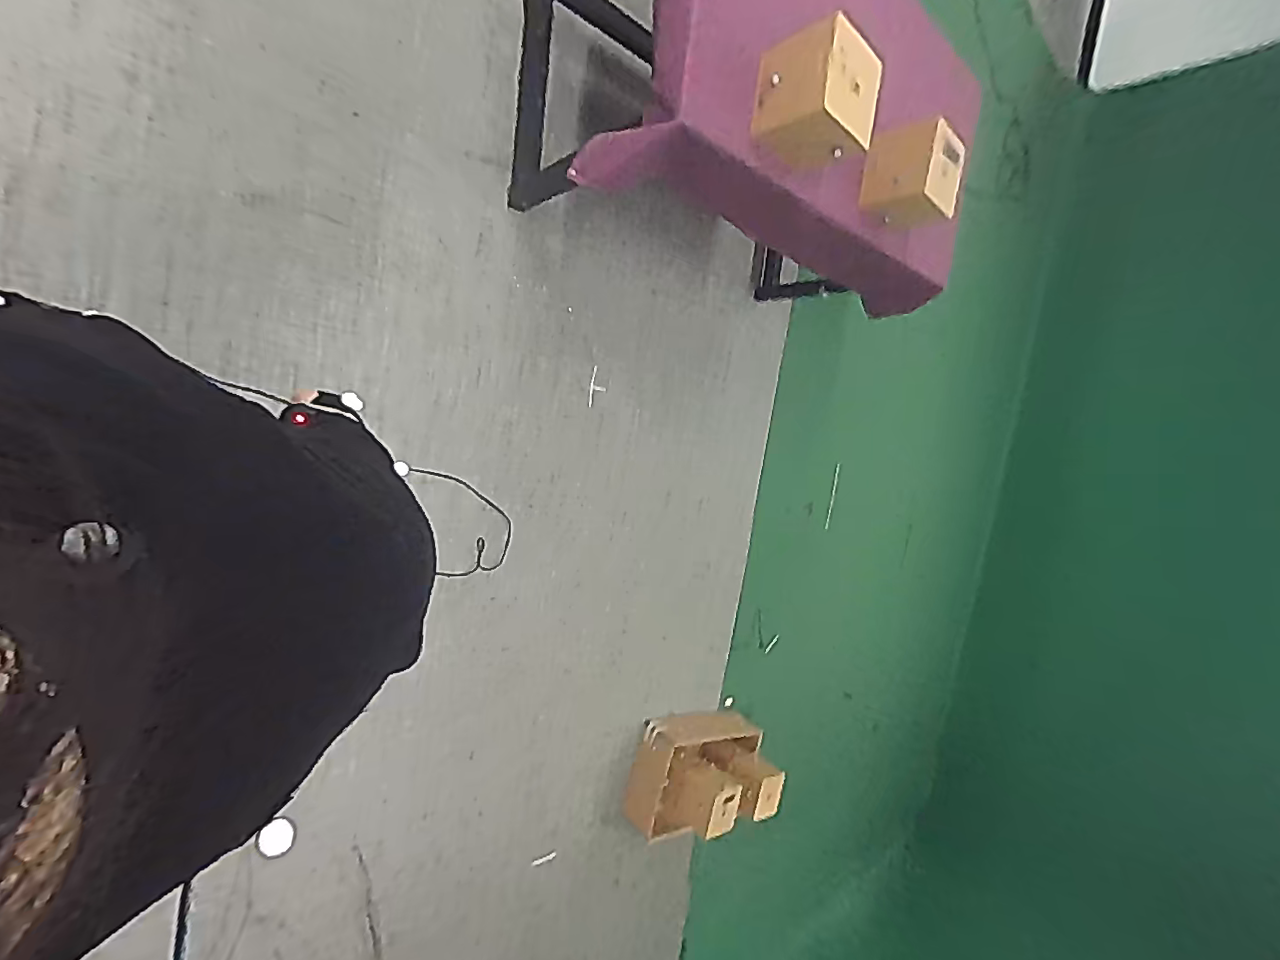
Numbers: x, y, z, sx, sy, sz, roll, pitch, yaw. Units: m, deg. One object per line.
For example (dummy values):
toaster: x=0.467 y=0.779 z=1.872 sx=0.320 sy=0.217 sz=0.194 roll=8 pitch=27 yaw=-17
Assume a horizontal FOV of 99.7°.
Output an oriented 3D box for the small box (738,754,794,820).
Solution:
small box: x=0.523 y=1.299 z=2.299 sx=0.168 sy=0.176 sz=0.179 roll=16 pitch=87 yaw=-40

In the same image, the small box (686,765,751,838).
small box: x=0.299 y=1.236 z=2.098 sx=0.168 sy=0.176 sz=0.179 roll=13 pitch=91 yaw=-41

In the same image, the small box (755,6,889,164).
small box: x=0.352 y=-0.748 z=1.052 sx=0.179 sy=0.176 sz=0.168 roll=4 pitch=96 yaw=-40
